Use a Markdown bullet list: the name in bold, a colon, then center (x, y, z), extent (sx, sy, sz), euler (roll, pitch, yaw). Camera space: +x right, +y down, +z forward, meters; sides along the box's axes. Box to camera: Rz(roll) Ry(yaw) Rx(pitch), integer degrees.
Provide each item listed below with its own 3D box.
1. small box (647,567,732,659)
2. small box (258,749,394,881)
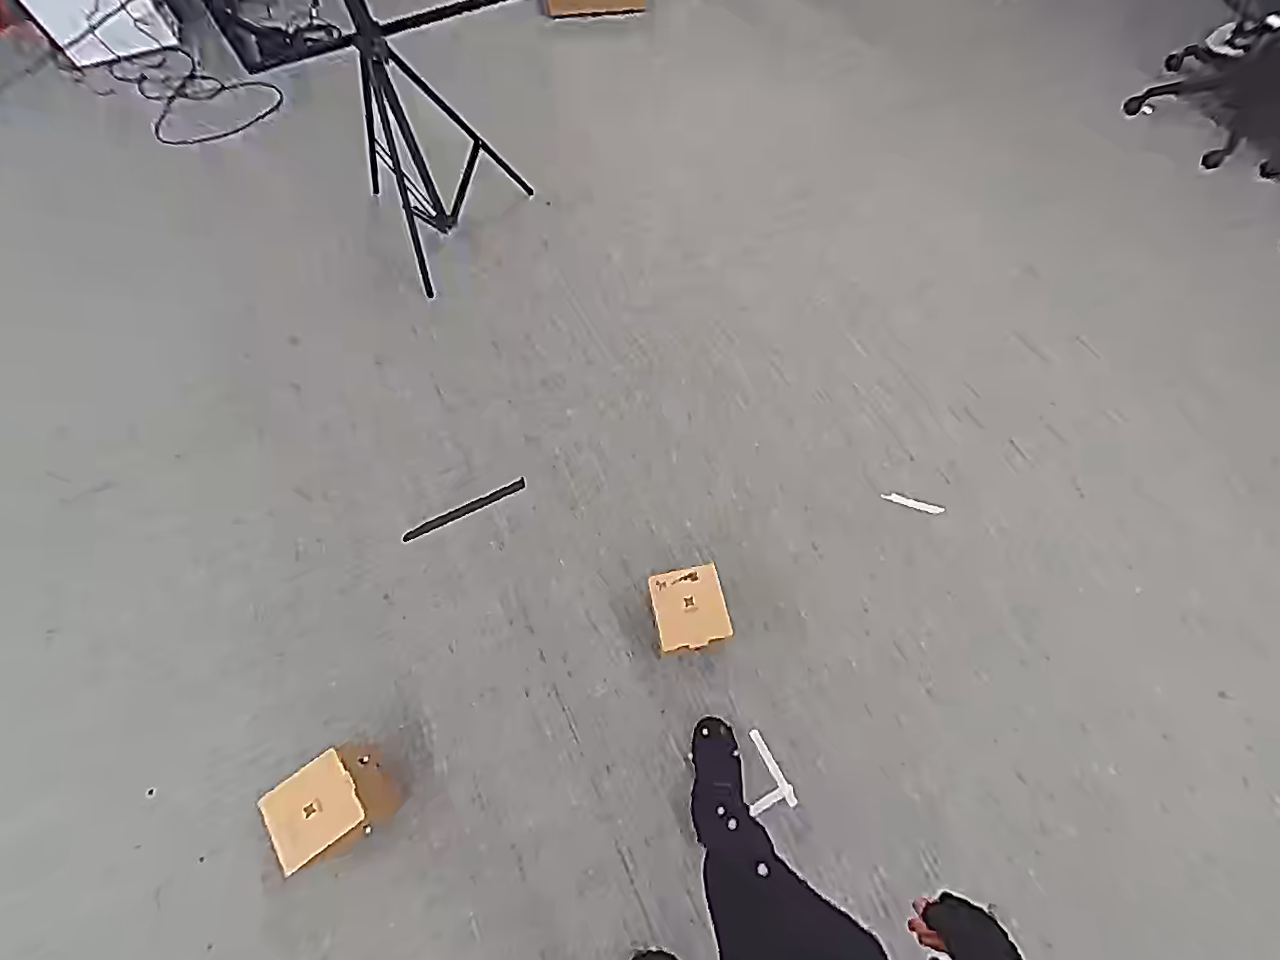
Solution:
- **small box**: center (0.116, 0.329, 1.310), extent (0.168, 0.176, 0.179), euler (-11, 66, -3)
- **small box**: center (-0.662, 0.705, 1.165), extent (0.179, 0.176, 0.168), euler (-36, 68, -13)
